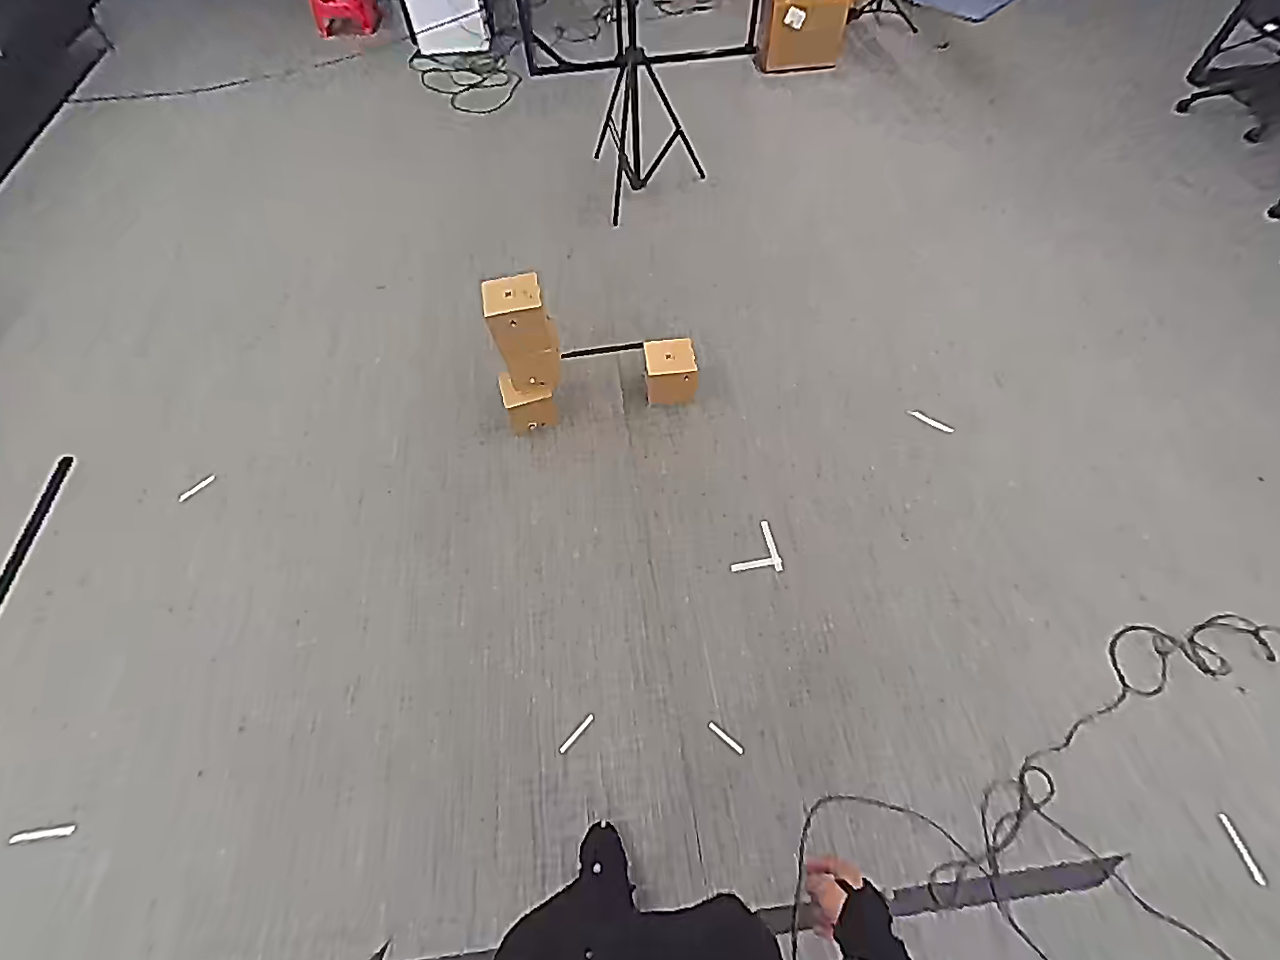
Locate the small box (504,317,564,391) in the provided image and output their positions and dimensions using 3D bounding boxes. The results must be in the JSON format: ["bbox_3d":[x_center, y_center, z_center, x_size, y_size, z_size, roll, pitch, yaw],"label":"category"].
[{"bbox_3d":[-0.356,-0.426,1.838,0.168,0.176,0.179,-5,58,1],"label":"small box"}]

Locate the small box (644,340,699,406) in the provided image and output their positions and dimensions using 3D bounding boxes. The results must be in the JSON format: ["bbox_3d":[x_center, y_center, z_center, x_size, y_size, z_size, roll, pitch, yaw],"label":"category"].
[{"bbox_3d":[0.114,-0.390,1.988,0.179,0.176,0.168,-6,58,-3],"label":"small box"}]

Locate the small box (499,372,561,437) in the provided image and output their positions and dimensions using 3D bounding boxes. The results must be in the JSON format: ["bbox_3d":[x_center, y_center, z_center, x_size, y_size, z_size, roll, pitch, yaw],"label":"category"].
[{"bbox_3d":[-0.394,-0.284,1.943,0.168,0.176,0.179,-17,59,-7],"label":"small box"}]

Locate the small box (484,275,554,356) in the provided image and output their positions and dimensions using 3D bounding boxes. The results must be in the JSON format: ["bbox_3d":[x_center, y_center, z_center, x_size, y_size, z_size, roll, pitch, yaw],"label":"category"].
[{"bbox_3d":[-0.379,-0.511,1.698,0.179,0.176,0.168,-11,58,-3],"label":"small box"}]
